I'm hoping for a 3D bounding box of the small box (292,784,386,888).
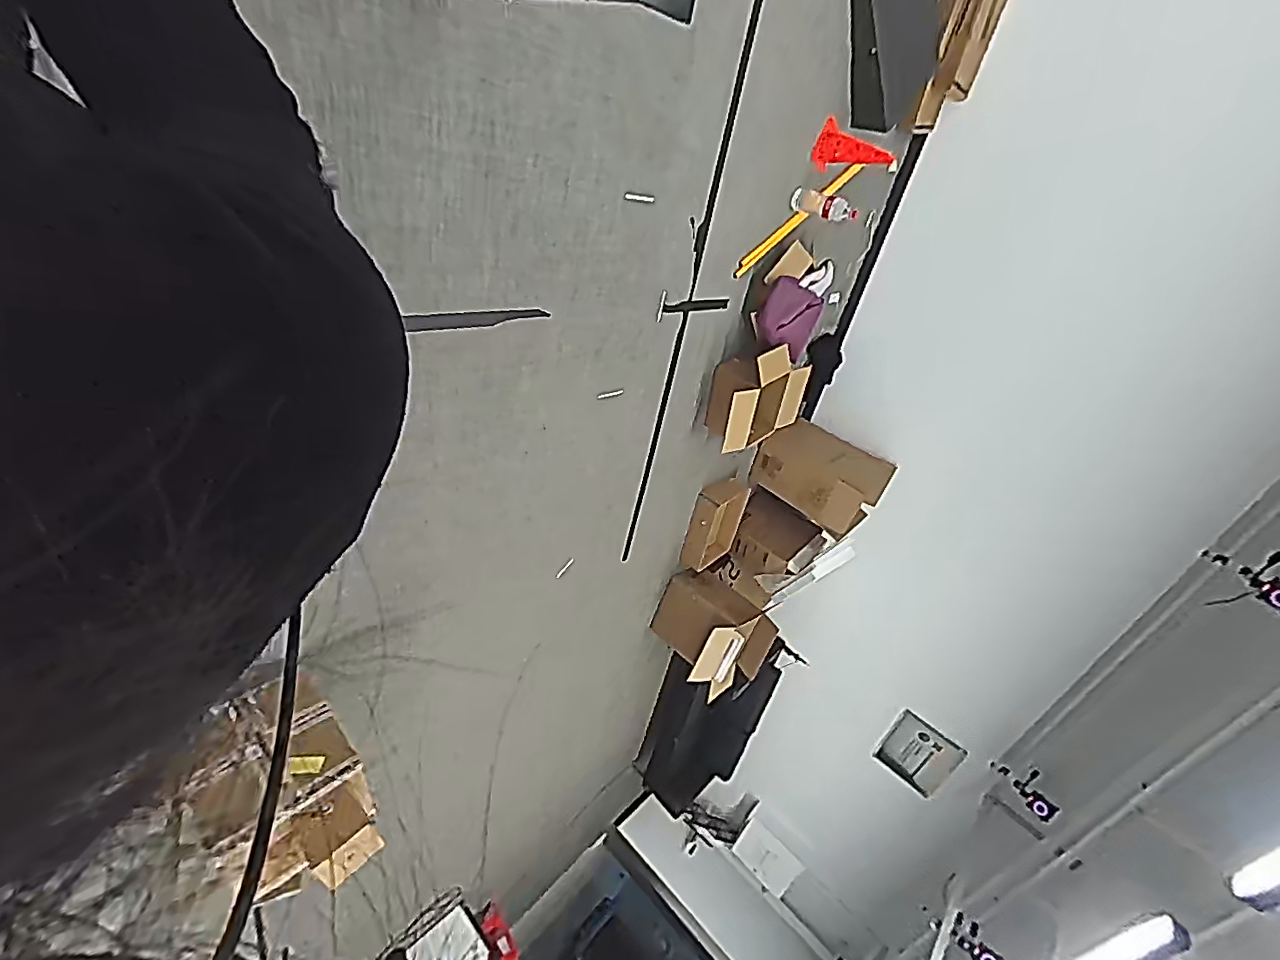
[{"bbox_3d":[-0.894,1.054,1.611,0.168,0.176,0.179,-34,139,-36],"label":"small box"}]
